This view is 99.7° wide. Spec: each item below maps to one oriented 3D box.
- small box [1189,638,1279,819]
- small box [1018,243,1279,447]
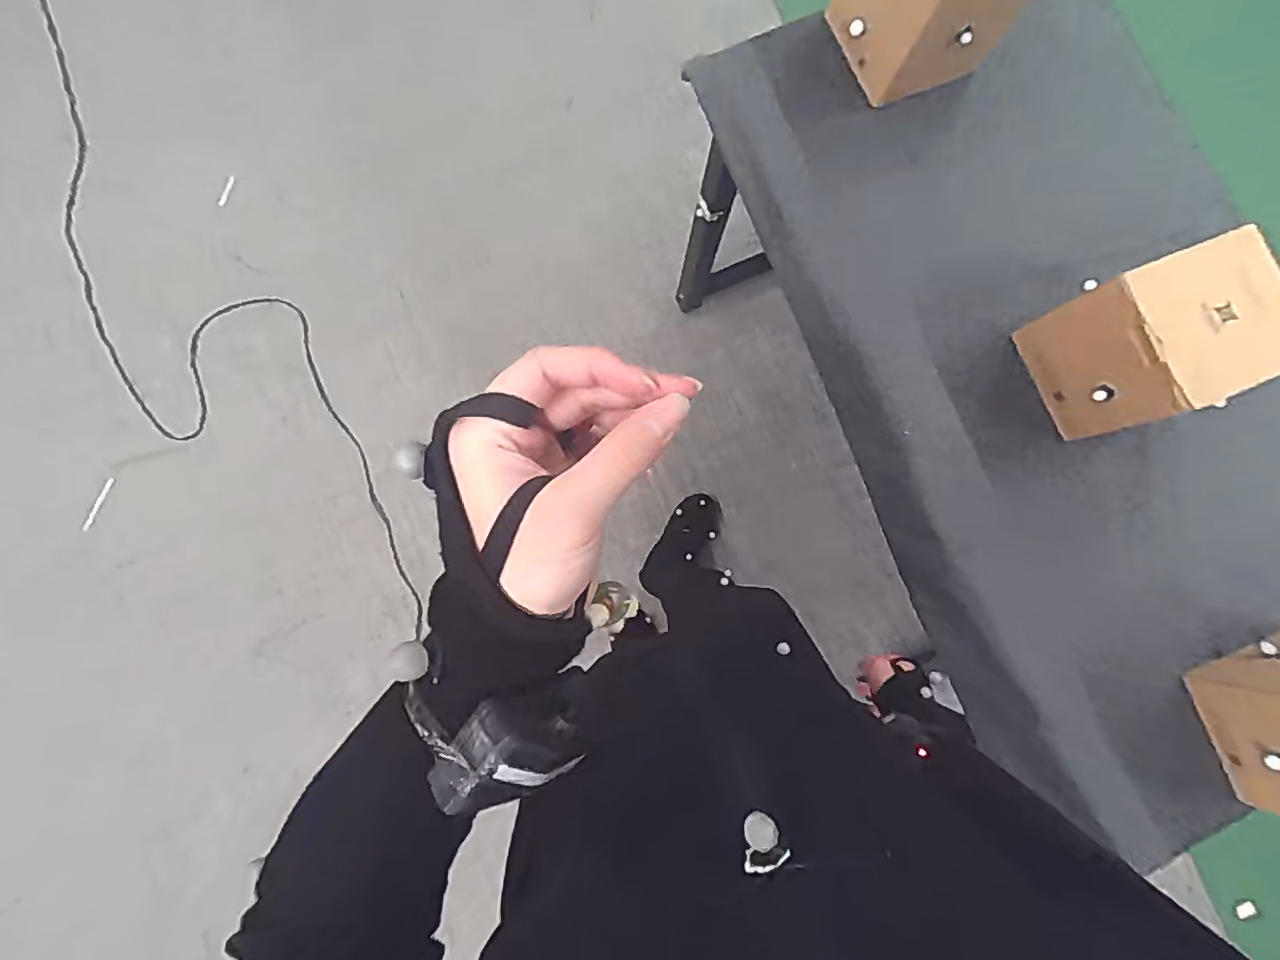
[{"bbox_3d":[0.803,0.297,0.622,0.179,0.176,0.168,-20,83,-5],"label":"small box"},{"bbox_3d":[0.621,-0.154,0.676,0.179,0.176,0.168,-22,85,-7],"label":"small box"}]
